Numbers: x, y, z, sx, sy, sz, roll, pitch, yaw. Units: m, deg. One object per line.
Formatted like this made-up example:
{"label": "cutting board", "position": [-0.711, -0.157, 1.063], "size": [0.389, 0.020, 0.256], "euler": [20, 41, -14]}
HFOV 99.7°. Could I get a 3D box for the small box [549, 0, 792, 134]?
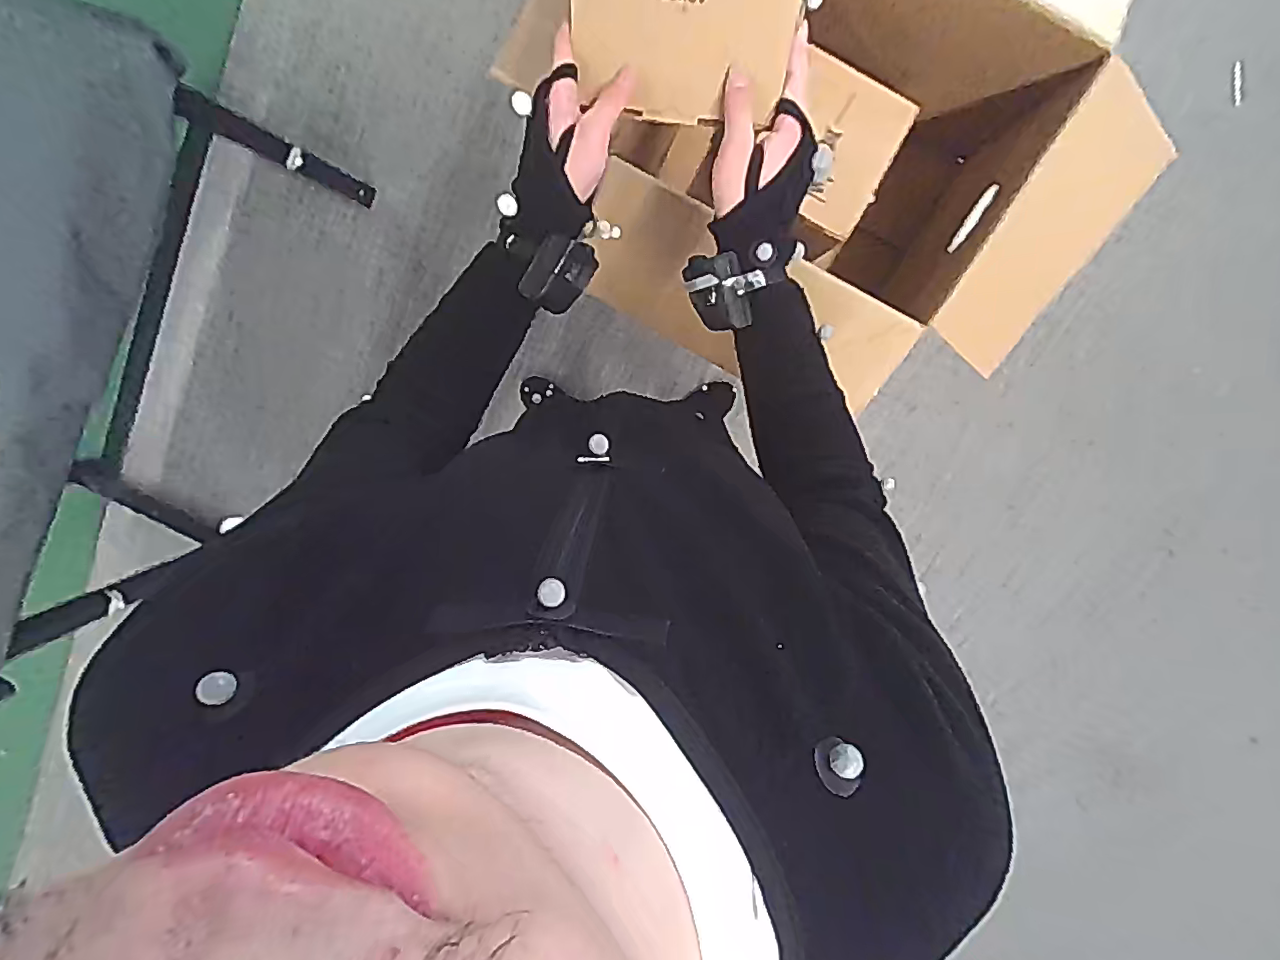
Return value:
{"label": "small box", "position": [0.035, -0.387, 0.425], "size": [0.168, 0.176, 0.179], "euler": [11, 125, 7]}
